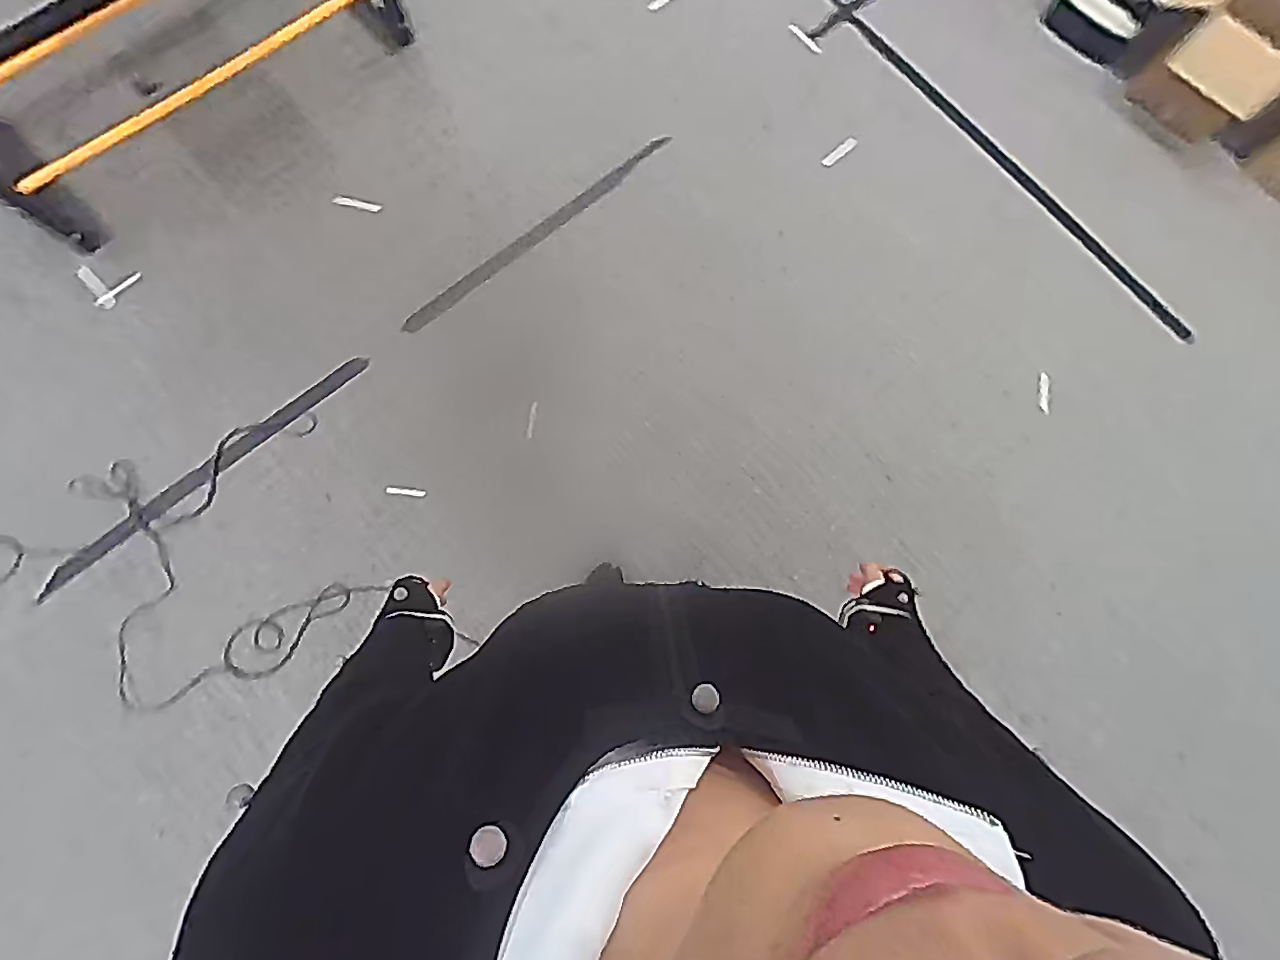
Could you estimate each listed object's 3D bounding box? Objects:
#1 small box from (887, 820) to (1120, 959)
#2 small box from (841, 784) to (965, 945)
[{"bbox_3d":[0.485,0.613,0.735,0.168,0.176,0.179,-40,83,-12],"label":"small box"},{"bbox_3d":[0.476,0.648,0.894,0.168,0.176,0.179,-40,83,-12],"label":"small box"}]
